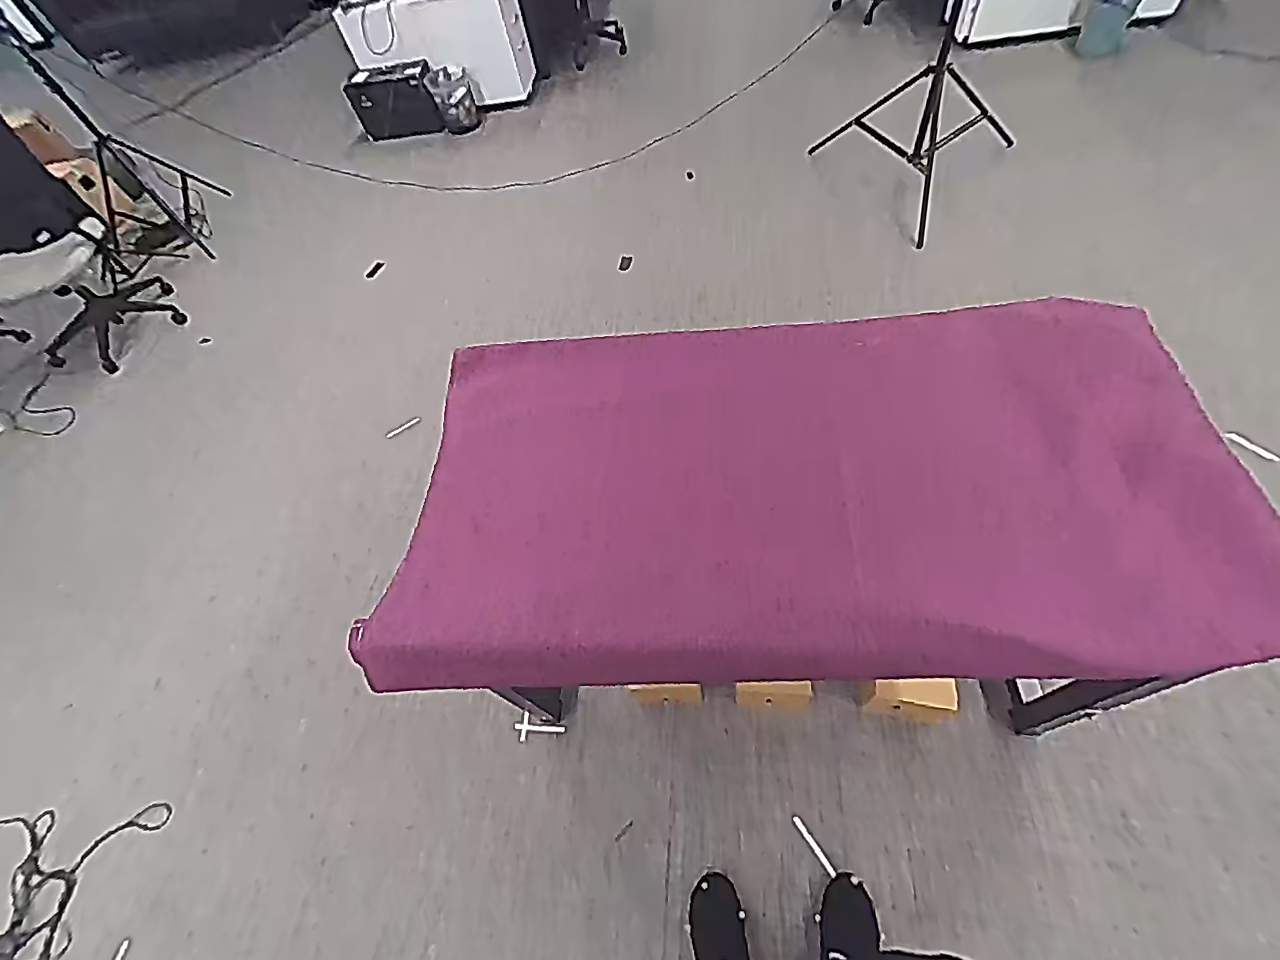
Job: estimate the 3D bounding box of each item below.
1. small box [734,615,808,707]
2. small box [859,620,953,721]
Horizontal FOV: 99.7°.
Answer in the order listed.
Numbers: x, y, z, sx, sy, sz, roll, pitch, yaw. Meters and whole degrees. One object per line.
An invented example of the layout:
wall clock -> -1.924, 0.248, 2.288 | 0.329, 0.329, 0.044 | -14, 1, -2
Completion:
small box -> 0.318, 0.449, 1.332 | 0.168, 0.176, 0.179 | 1, 56, 9
small box -> 0.622, 0.454, 1.279 | 0.168, 0.176, 0.179 | 6, 57, 14
